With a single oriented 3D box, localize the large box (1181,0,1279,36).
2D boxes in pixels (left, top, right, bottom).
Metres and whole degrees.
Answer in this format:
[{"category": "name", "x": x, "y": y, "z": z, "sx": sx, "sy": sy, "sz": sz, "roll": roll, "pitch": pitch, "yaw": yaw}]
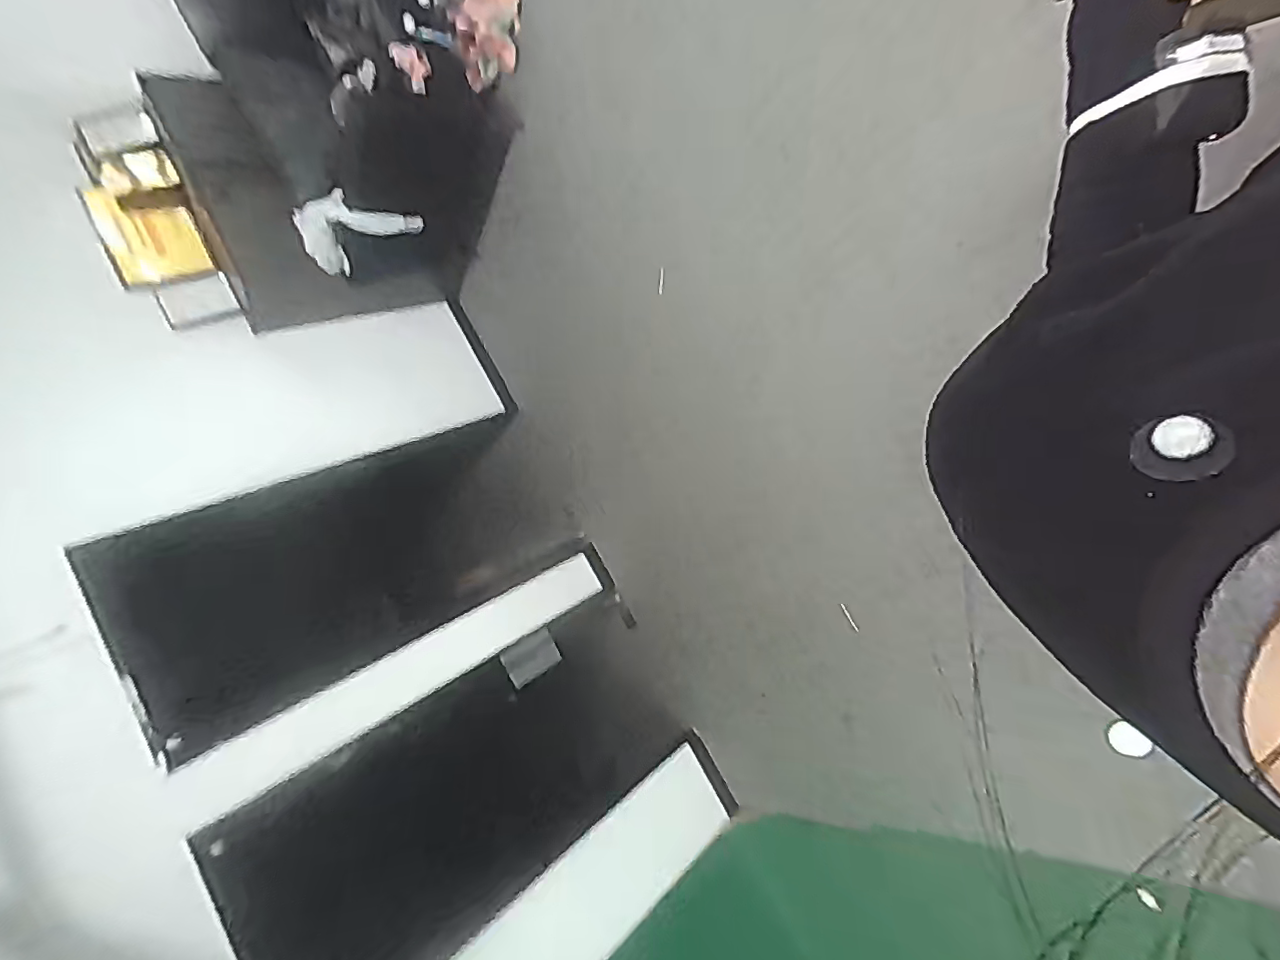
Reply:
[{"category": "large box", "x": 0.576, "y": -0.501, "z": 0.269, "sx": 0.408, "sy": 0.320, "sz": 0.320, "roll": 8, "pitch": 120, "yaw": 42}]
